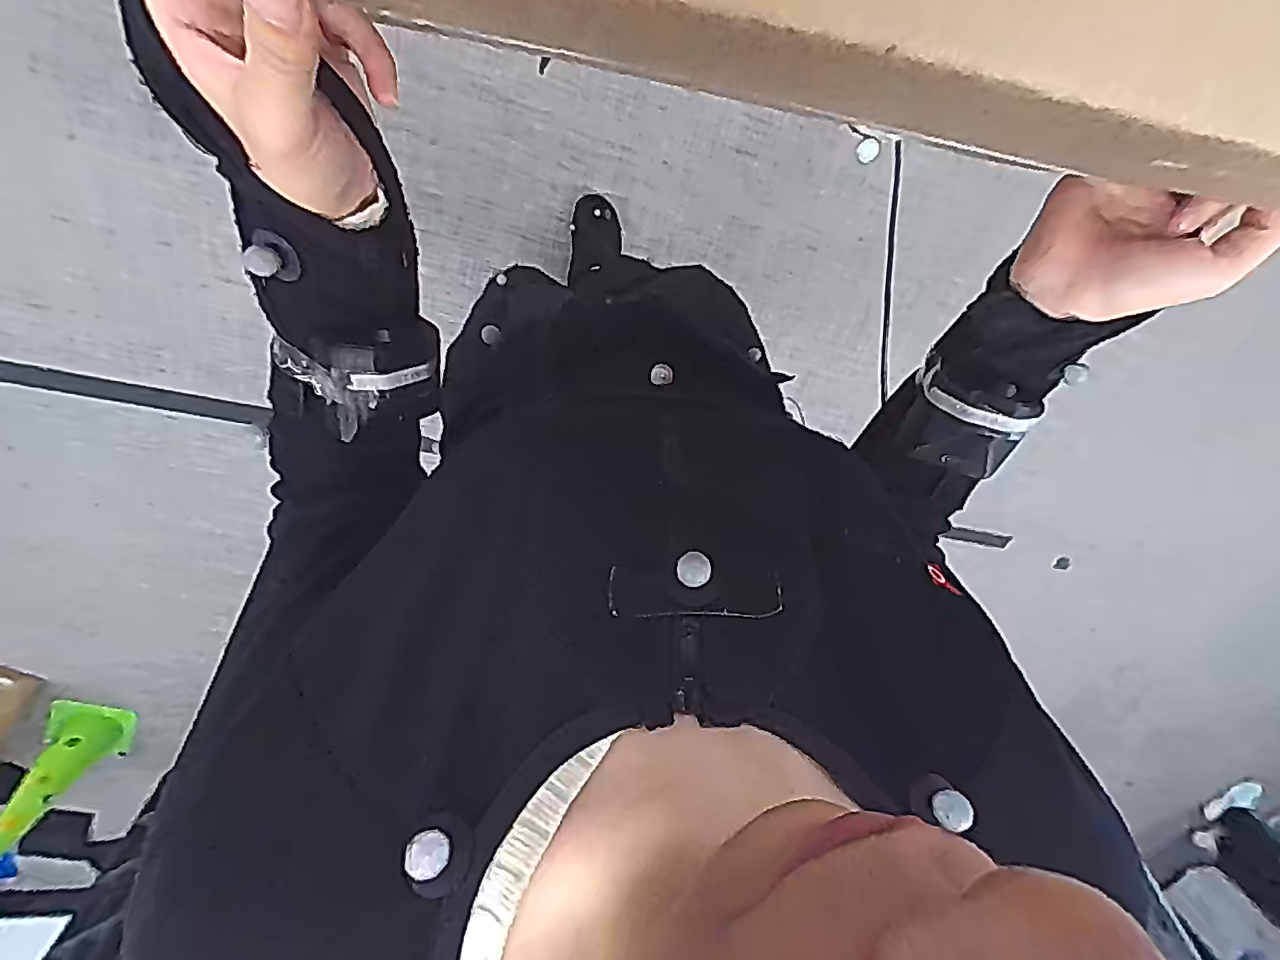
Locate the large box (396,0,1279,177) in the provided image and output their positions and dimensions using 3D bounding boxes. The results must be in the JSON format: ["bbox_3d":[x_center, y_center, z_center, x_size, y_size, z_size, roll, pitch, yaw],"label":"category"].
[{"bbox_3d":[0.095,-0.295,0.137,0.408,0.320,0.320,3,126,-12],"label":"large box"}]
